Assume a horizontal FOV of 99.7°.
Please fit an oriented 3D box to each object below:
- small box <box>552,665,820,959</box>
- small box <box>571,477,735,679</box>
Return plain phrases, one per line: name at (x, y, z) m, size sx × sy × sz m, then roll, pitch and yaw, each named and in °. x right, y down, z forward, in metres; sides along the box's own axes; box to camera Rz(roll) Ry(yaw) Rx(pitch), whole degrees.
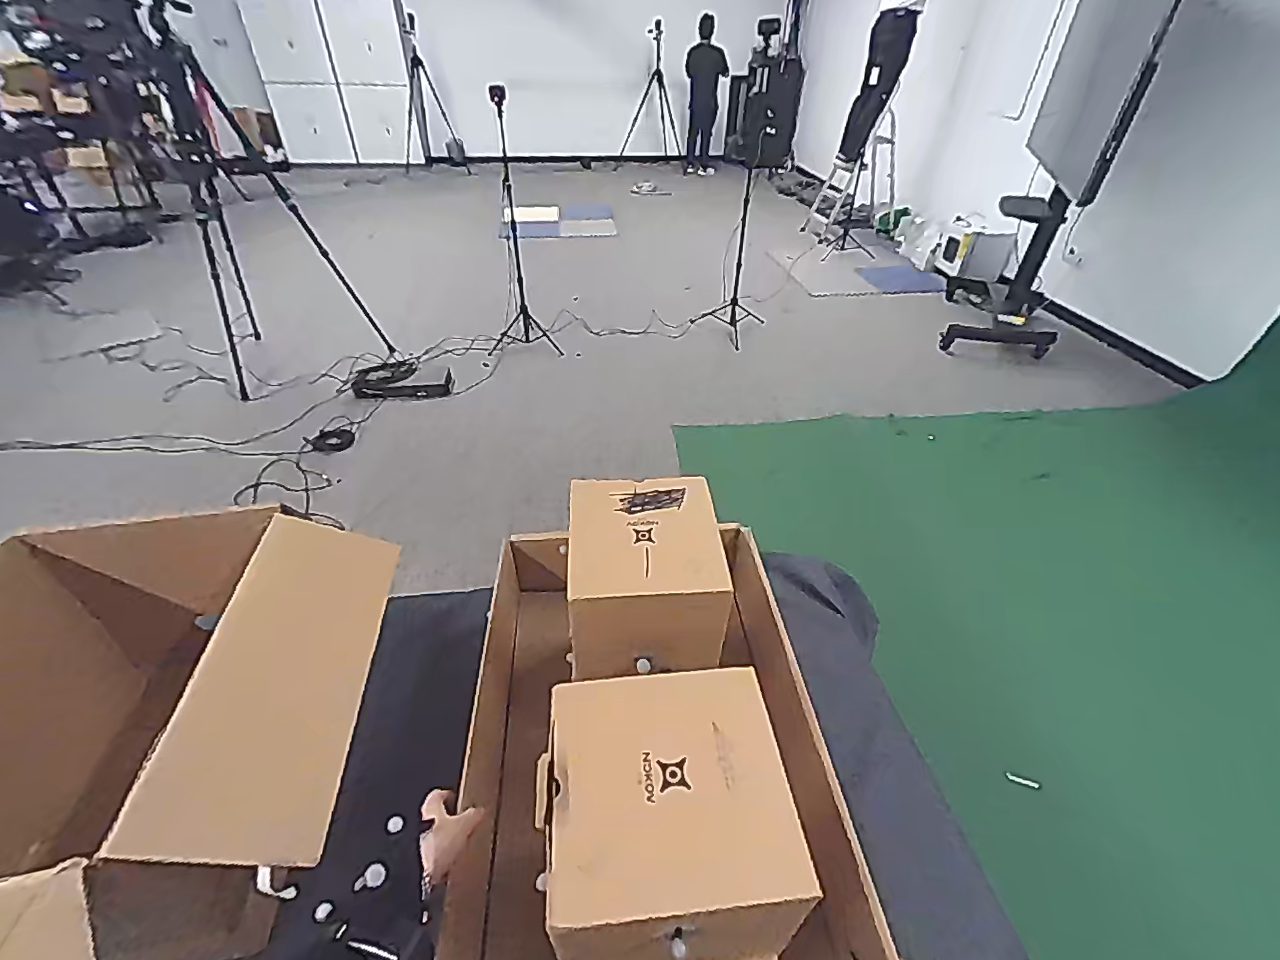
small box at (0.024, 0.280, 0.452) m, size 0.179 × 0.176 × 0.168 m, roll -3°, pitch 40°, yaw -6°
small box at (0.007, 0.116, 0.644) m, size 0.168 × 0.176 × 0.179 m, roll -2°, pitch 42°, yaw -3°
